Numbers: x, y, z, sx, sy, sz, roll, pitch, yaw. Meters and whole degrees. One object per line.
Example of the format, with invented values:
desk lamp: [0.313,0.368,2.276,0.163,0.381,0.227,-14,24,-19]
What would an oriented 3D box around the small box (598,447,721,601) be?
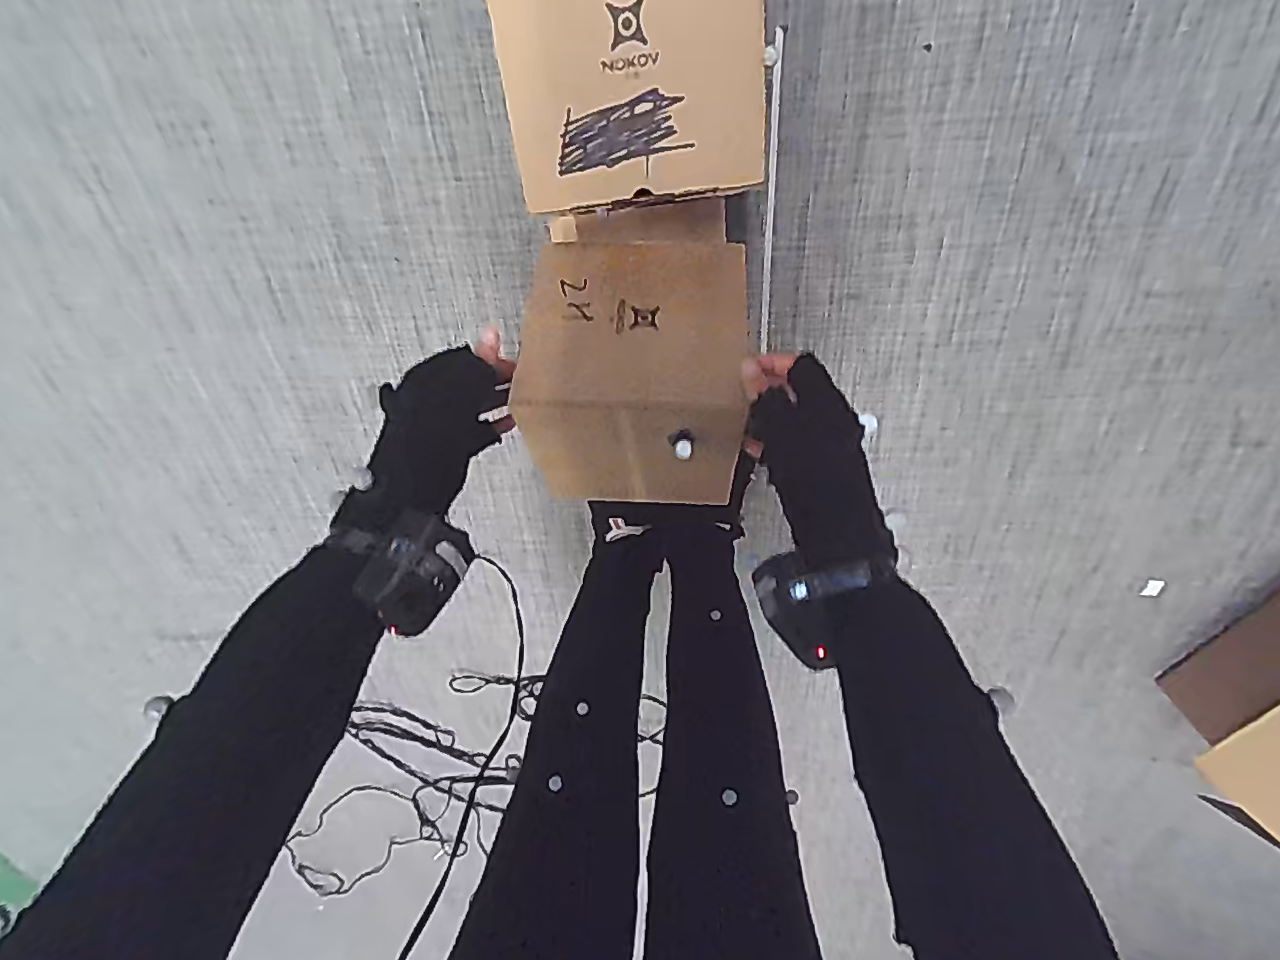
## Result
small box: [0.019,0.067,0.840,0.168,0.176,0.179,0,124,-6]

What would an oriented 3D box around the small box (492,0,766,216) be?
small box: [0.002,-0.305,0.398,0.168,0.176,0.179,-3,118,7]
